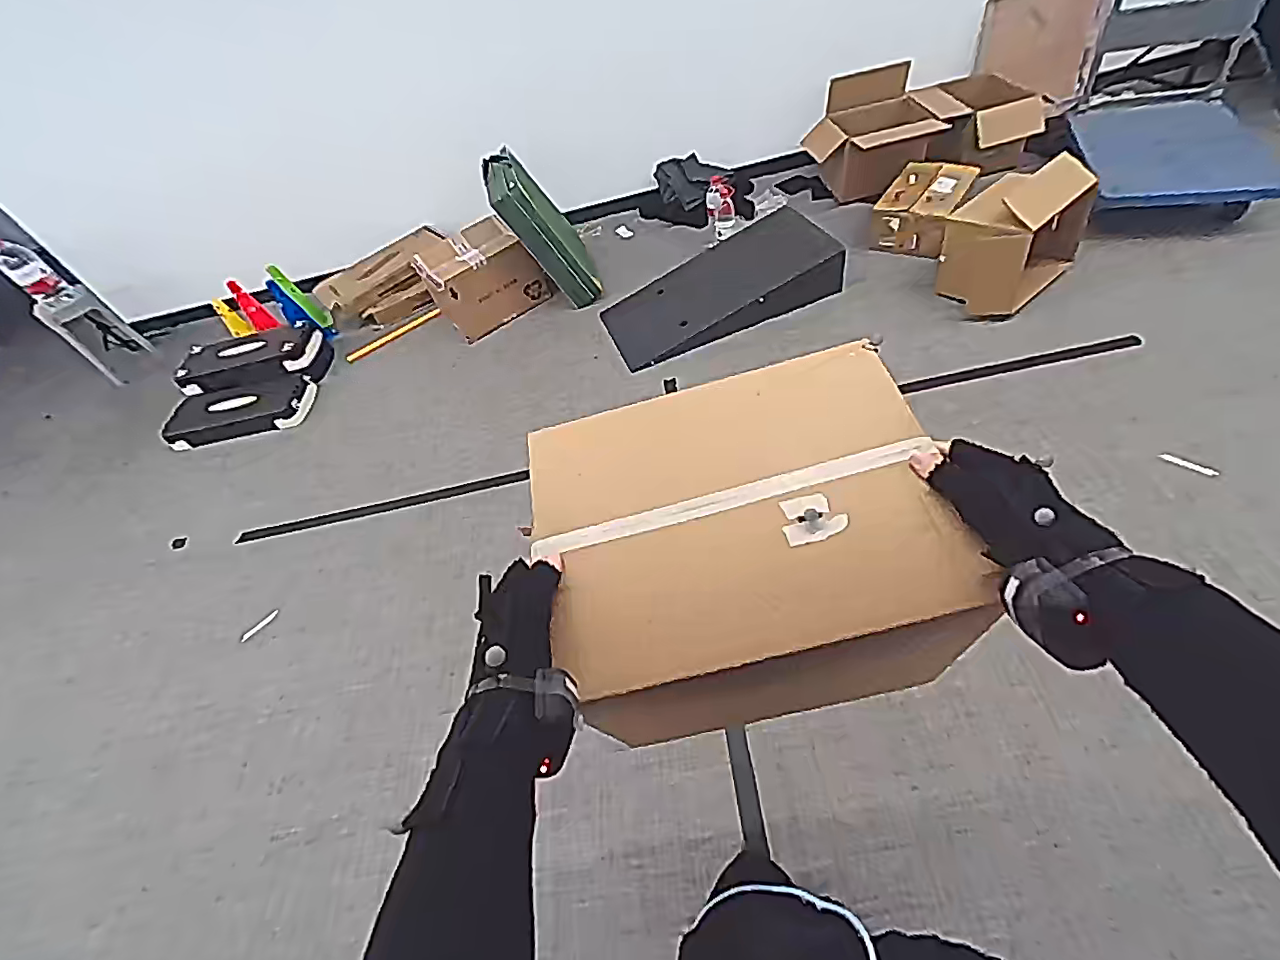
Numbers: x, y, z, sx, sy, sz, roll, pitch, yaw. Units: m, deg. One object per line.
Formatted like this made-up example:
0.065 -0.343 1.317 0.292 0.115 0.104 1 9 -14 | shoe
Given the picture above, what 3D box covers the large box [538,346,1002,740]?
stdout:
0.122 0.098 0.677 0.408 0.320 0.320 -15 57 4 | large box
